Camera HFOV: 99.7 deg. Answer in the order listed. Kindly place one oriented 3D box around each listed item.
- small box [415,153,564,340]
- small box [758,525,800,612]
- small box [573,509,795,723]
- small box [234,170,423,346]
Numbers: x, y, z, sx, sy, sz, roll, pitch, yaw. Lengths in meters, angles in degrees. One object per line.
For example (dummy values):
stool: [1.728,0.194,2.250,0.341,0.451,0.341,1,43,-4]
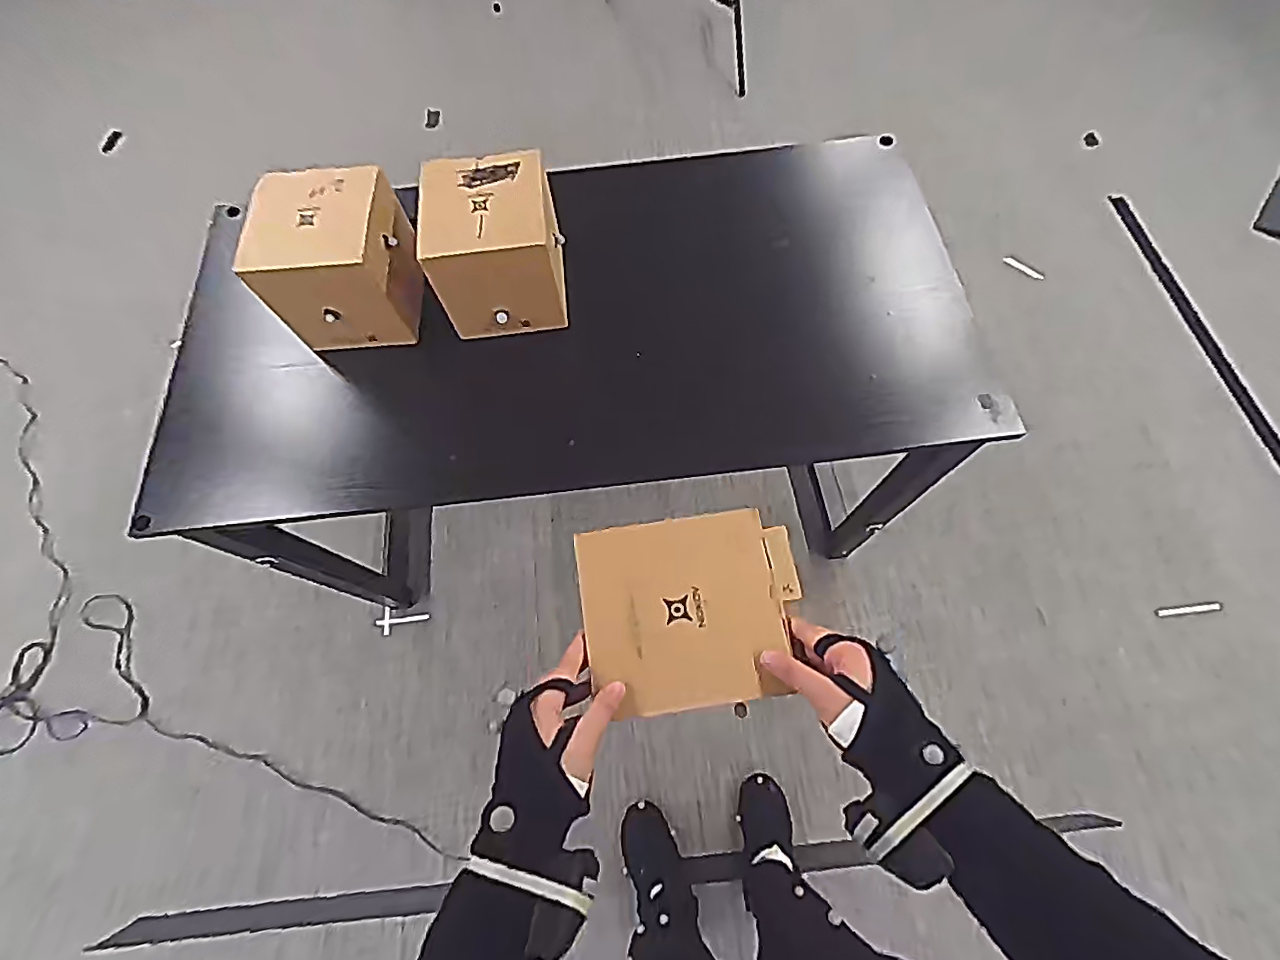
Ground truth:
small box: [-0.207,-0.330,0.782,0.168,0.176,0.179,-7,68,0]
small box: [0.272,0.227,1.318,0.168,0.176,0.179,-8,67,0]
small box: [0.036,0.144,0.554,0.179,0.176,0.168,-10,67,-1]
small box: [-0.431,-0.308,0.783,0.168,0.176,0.179,-4,67,0]
